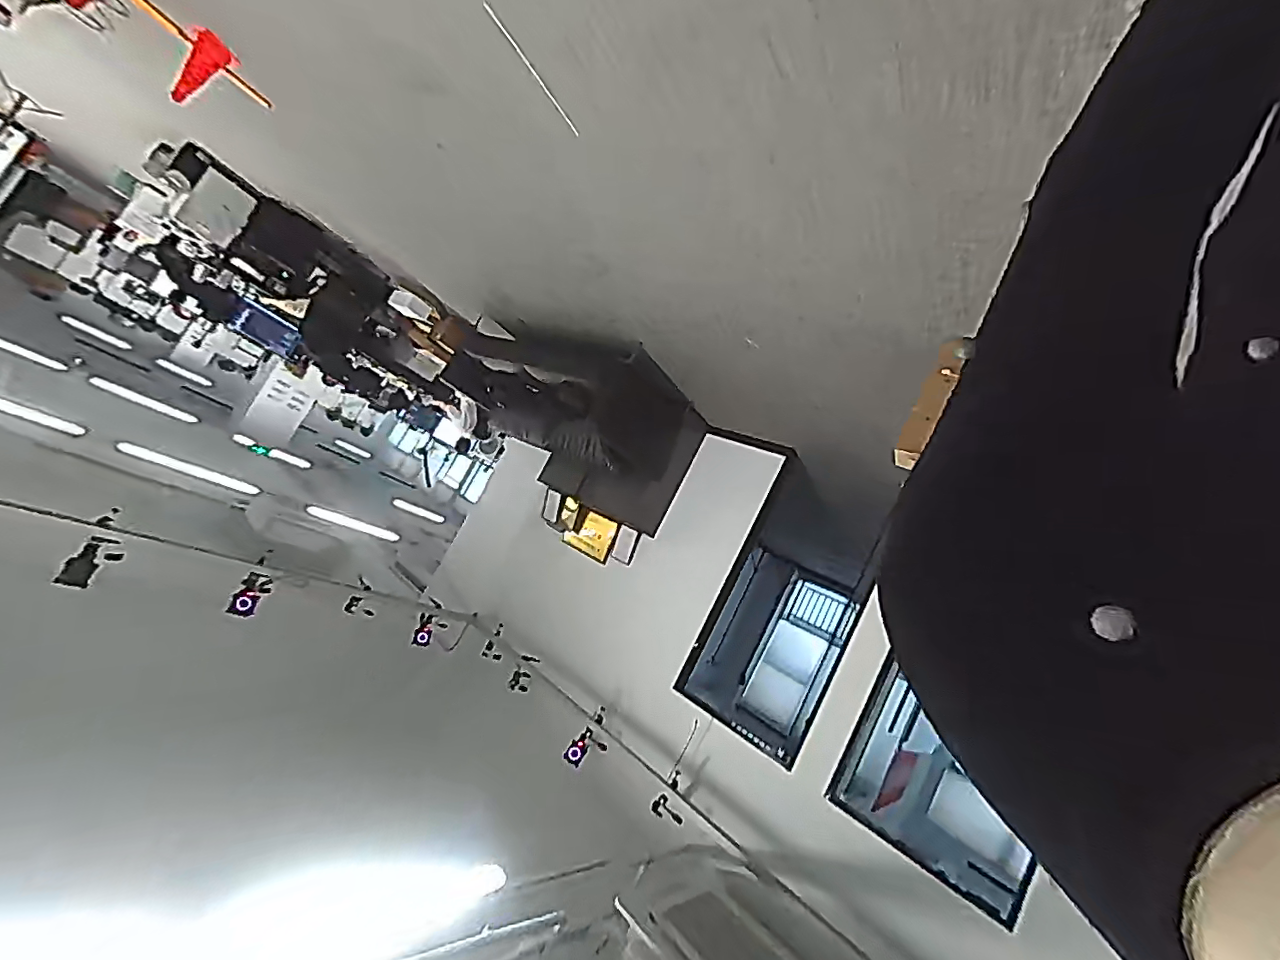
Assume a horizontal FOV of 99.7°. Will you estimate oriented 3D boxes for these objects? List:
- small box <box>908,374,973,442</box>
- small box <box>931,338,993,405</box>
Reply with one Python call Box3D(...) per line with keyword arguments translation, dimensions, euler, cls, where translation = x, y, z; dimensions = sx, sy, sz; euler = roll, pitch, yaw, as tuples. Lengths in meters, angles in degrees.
Box3D(translation=(1.133, -0.273, 2.043), dimensions=(0.168, 0.176, 0.179), euler=(24, 171, 32), cls="small box")
Box3D(translation=(1.212, -0.412, 2.056), dimensions=(0.168, 0.176, 0.179), euler=(22, 170, 26), cls="small box")
